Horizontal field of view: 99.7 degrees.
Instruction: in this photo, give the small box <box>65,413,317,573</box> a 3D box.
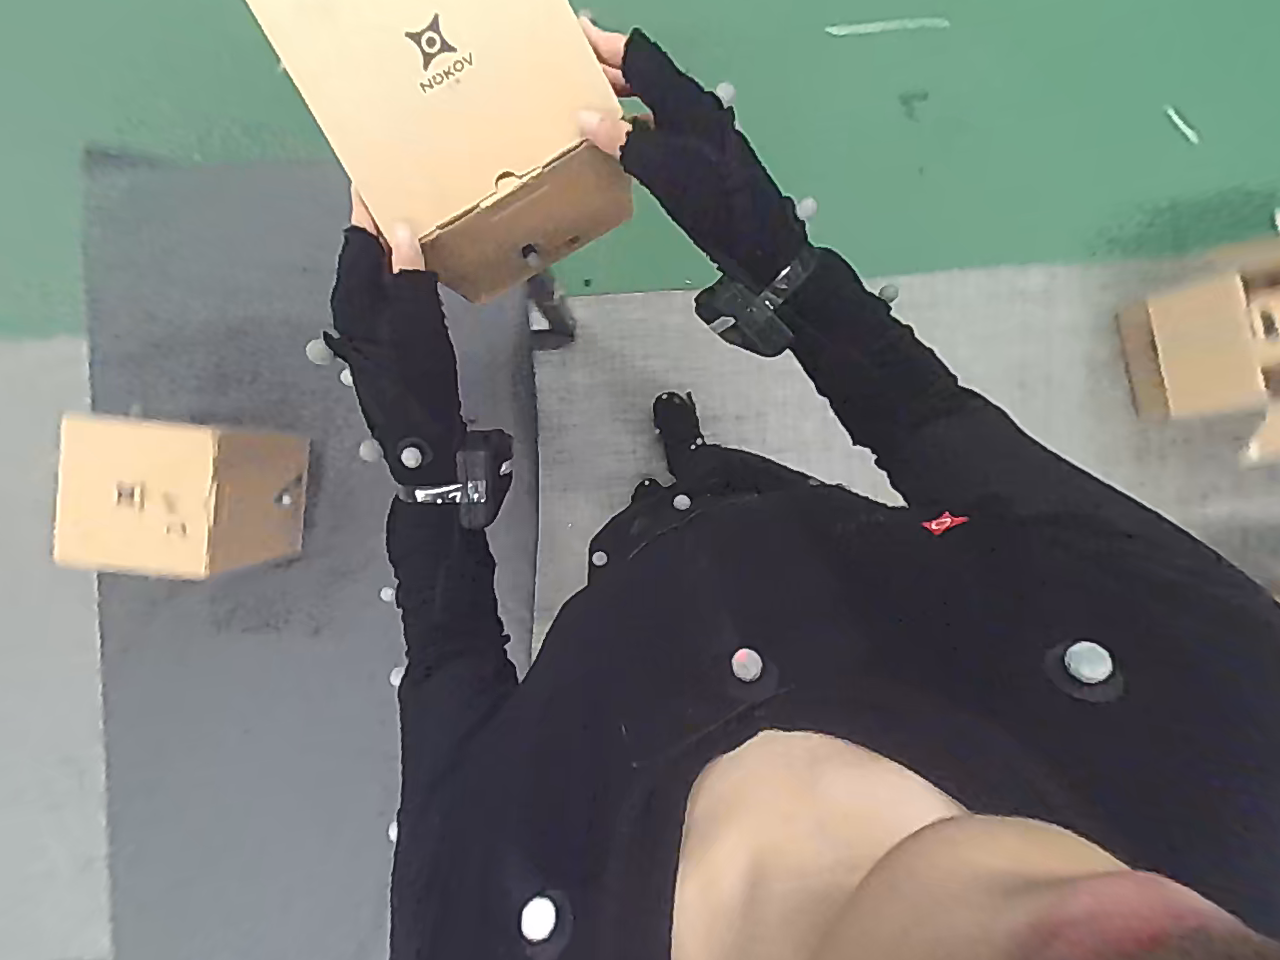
[{"bbox_3d":[-0.551,0.013,0.684,0.179,0.176,0.168,5,92,1],"label":"small box"}]
